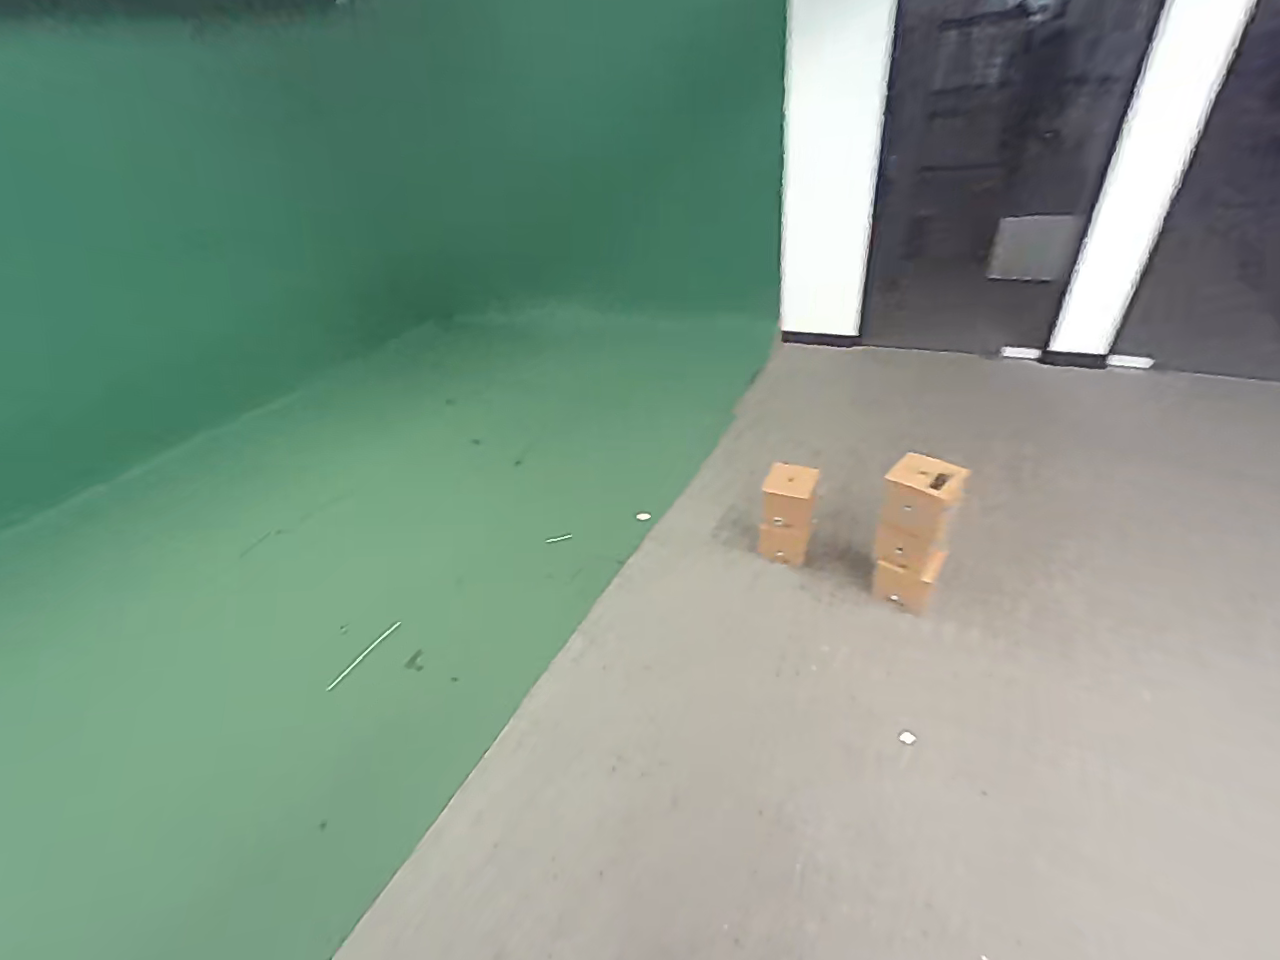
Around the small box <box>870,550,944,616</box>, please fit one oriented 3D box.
[{"bbox_3d":[0.885,0.316,1.803,0.168,0.176,0.179,21,47,35],"label":"small box"}]

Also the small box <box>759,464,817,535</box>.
[{"bbox_3d":[0.529,0.069,1.934,0.168,0.176,0.179,10,41,25],"label":"small box"}]

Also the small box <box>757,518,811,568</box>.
[{"bbox_3d":[0.540,0.199,2.029,0.168,0.176,0.179,11,41,24],"label":"small box"}]

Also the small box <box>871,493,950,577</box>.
[{"bbox_3d":[0.855,0.176,1.723,0.168,0.176,0.179,25,49,37],"label":"small box"}]
